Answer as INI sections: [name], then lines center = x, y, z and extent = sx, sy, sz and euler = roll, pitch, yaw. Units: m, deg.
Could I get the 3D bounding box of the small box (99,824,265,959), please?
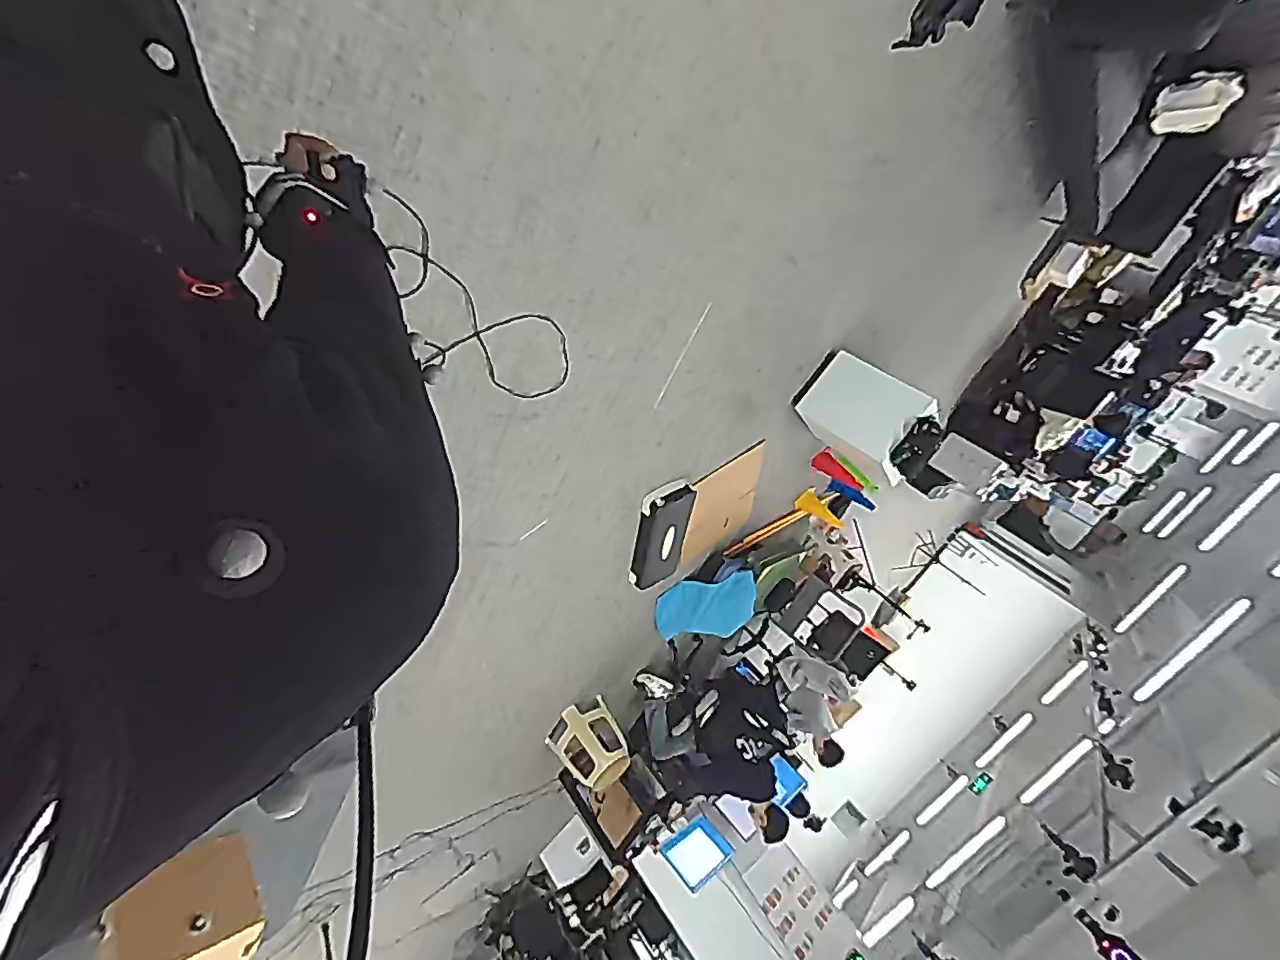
[small box]
center = -0.753, 0.714, 0.887
extent = 0.179, 0.176, 0.168
euler = 4, 122, -49
